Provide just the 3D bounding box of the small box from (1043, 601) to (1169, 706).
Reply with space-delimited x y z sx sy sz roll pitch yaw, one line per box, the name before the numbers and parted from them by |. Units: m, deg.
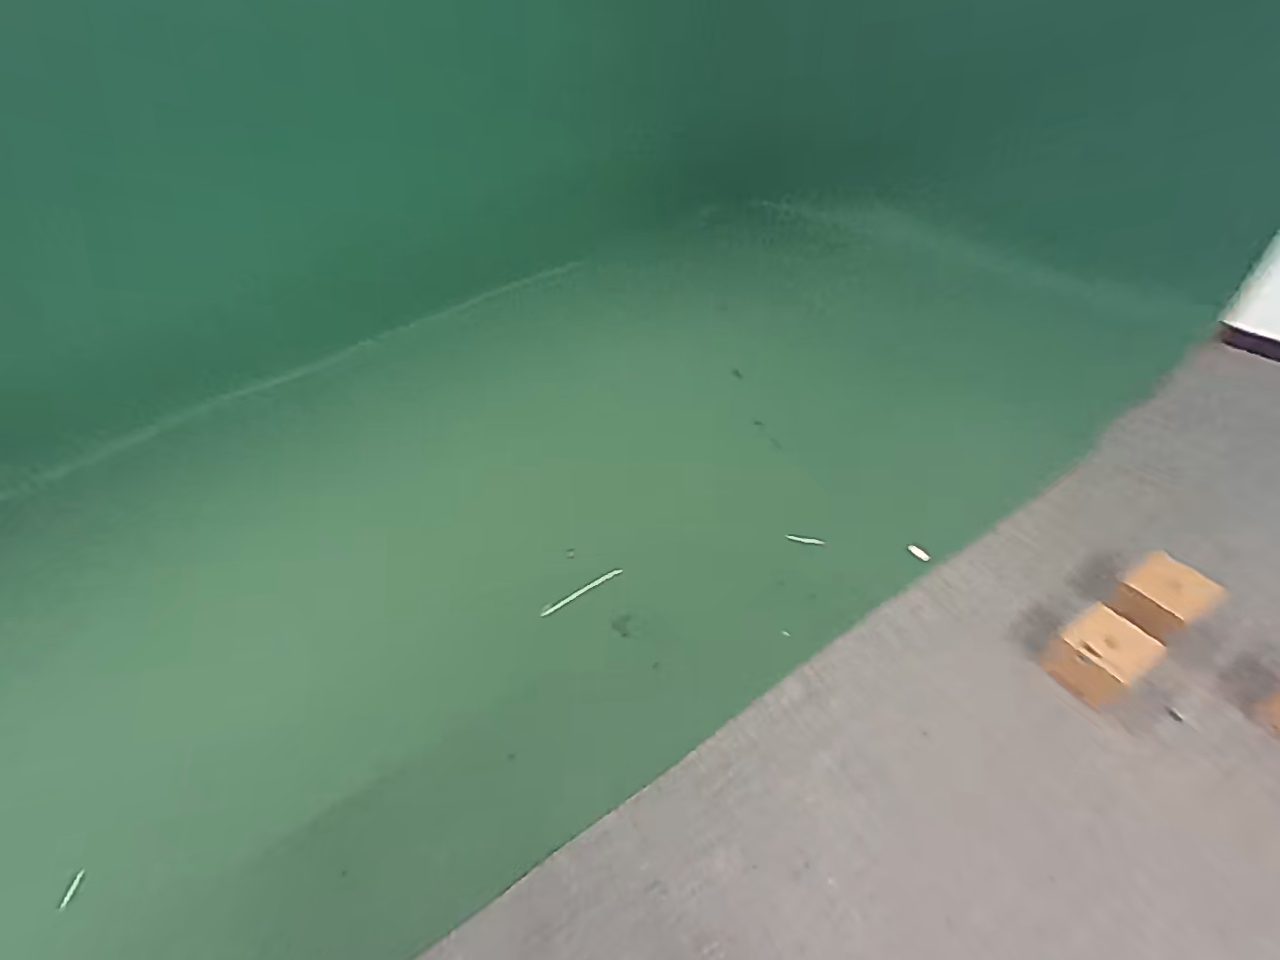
small box | 1.230 0.465 1.444 0.179 0.176 0.168 -29 47 -16
